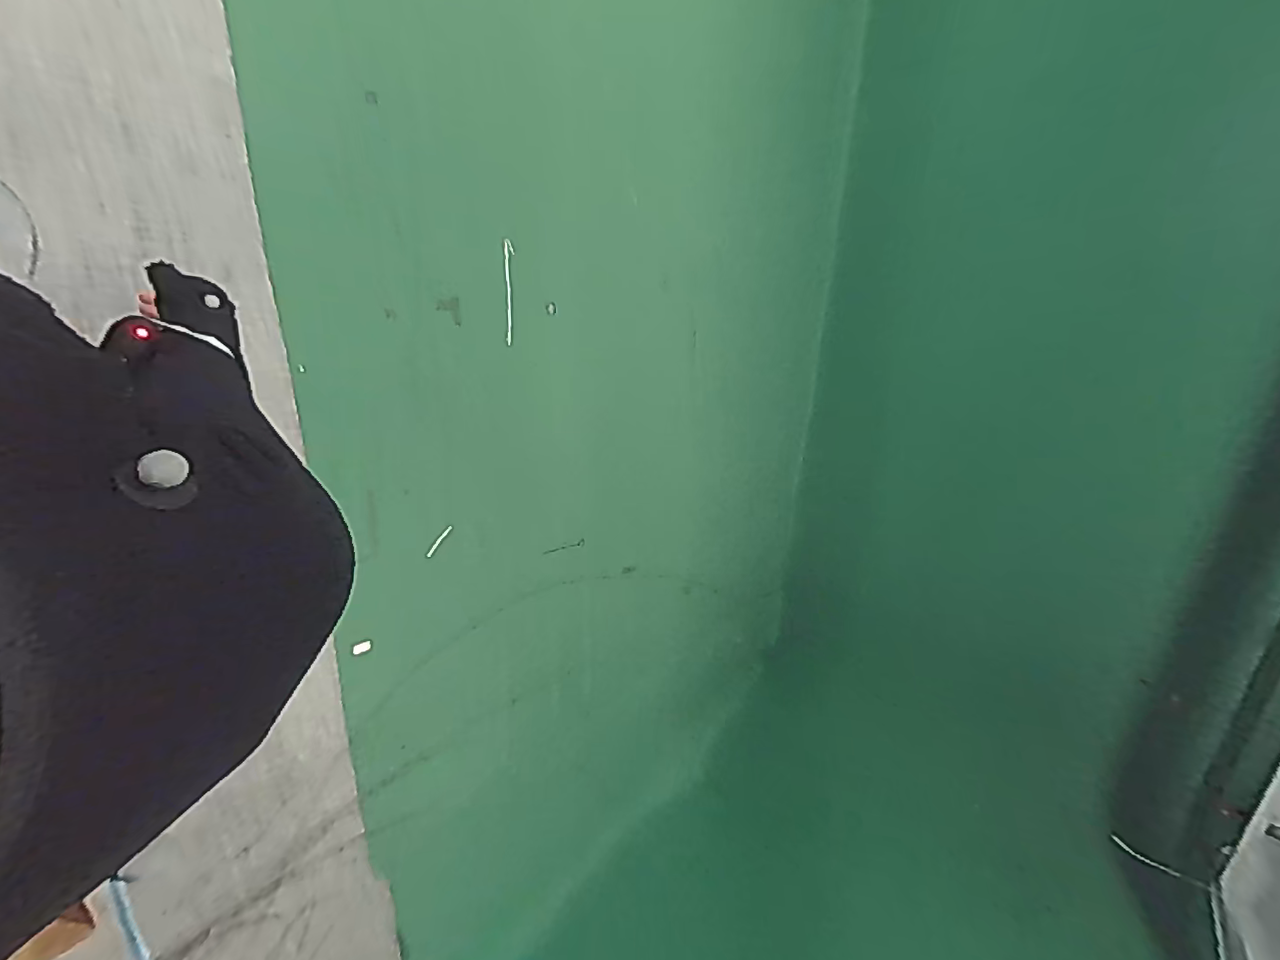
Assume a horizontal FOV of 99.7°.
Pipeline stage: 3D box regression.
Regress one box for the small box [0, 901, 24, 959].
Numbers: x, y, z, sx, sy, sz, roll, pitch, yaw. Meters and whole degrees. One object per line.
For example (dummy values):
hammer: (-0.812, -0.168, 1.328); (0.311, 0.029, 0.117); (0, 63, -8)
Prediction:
small box: (-1.142, 0.828, 0.875); (0.168, 0.176, 0.179); (-20, 120, -45)
